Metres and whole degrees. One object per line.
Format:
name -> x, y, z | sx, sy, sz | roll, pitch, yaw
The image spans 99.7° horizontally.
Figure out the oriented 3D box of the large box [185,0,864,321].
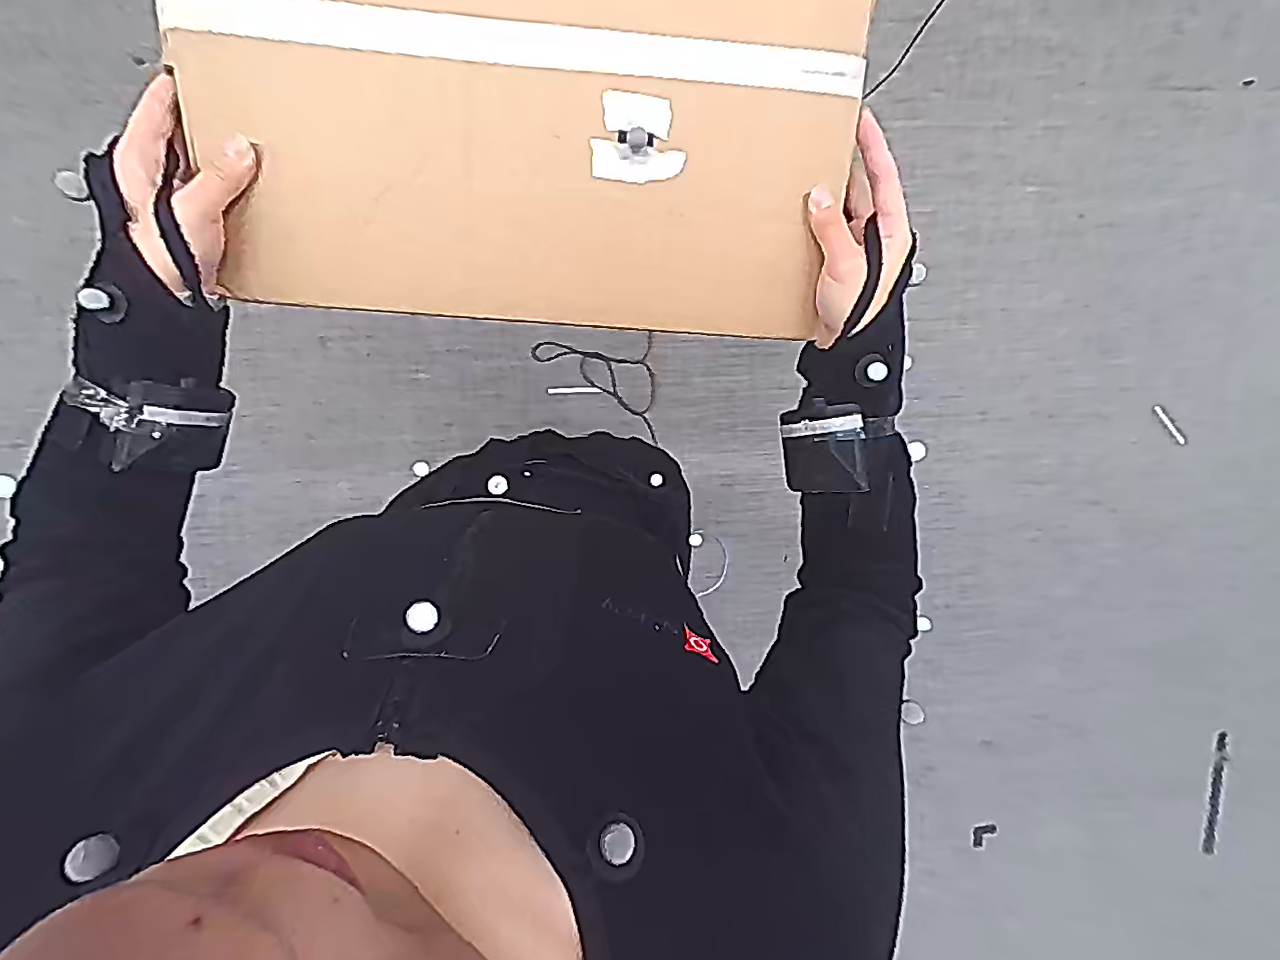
large box -> -0.075, -0.313, 0.464 | 0.408, 0.320, 0.320 | 3, 110, -5
